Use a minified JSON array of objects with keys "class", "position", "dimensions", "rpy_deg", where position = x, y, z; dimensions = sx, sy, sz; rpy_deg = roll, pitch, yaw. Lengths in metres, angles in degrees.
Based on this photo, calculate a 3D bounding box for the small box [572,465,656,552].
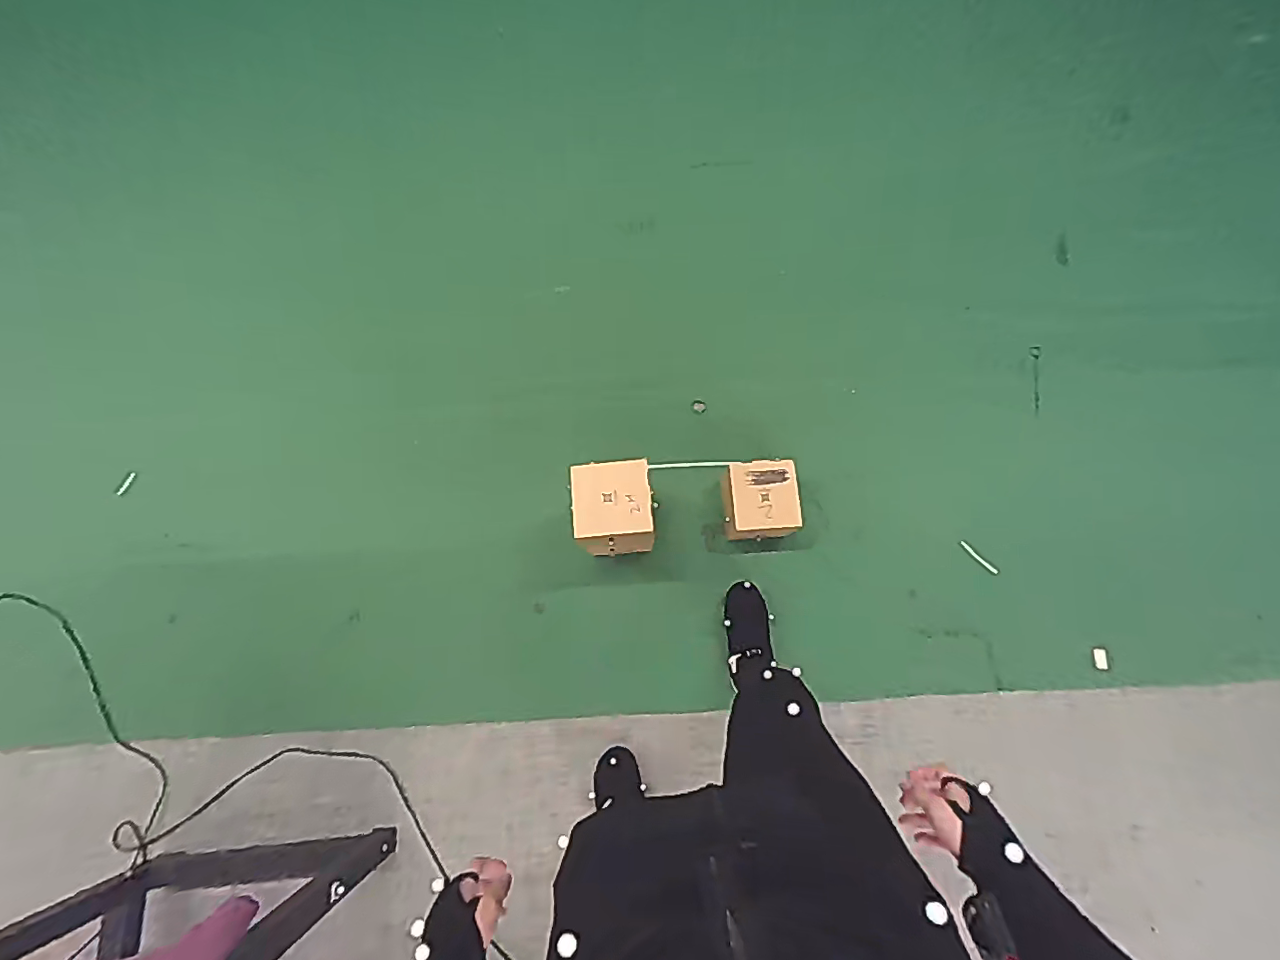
[{"class":"small box","position":[-0.055,0.072,1.259],"dimensions":[0.179,0.176,0.168],"rpy_deg":[-5,75,0]}]

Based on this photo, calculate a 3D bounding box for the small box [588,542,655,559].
[{"class":"small box","position":[-0.049,0.111,1.419],"dimensions":[0.168,0.176,0.179],"rpy_deg":[-5,74,1]}]
